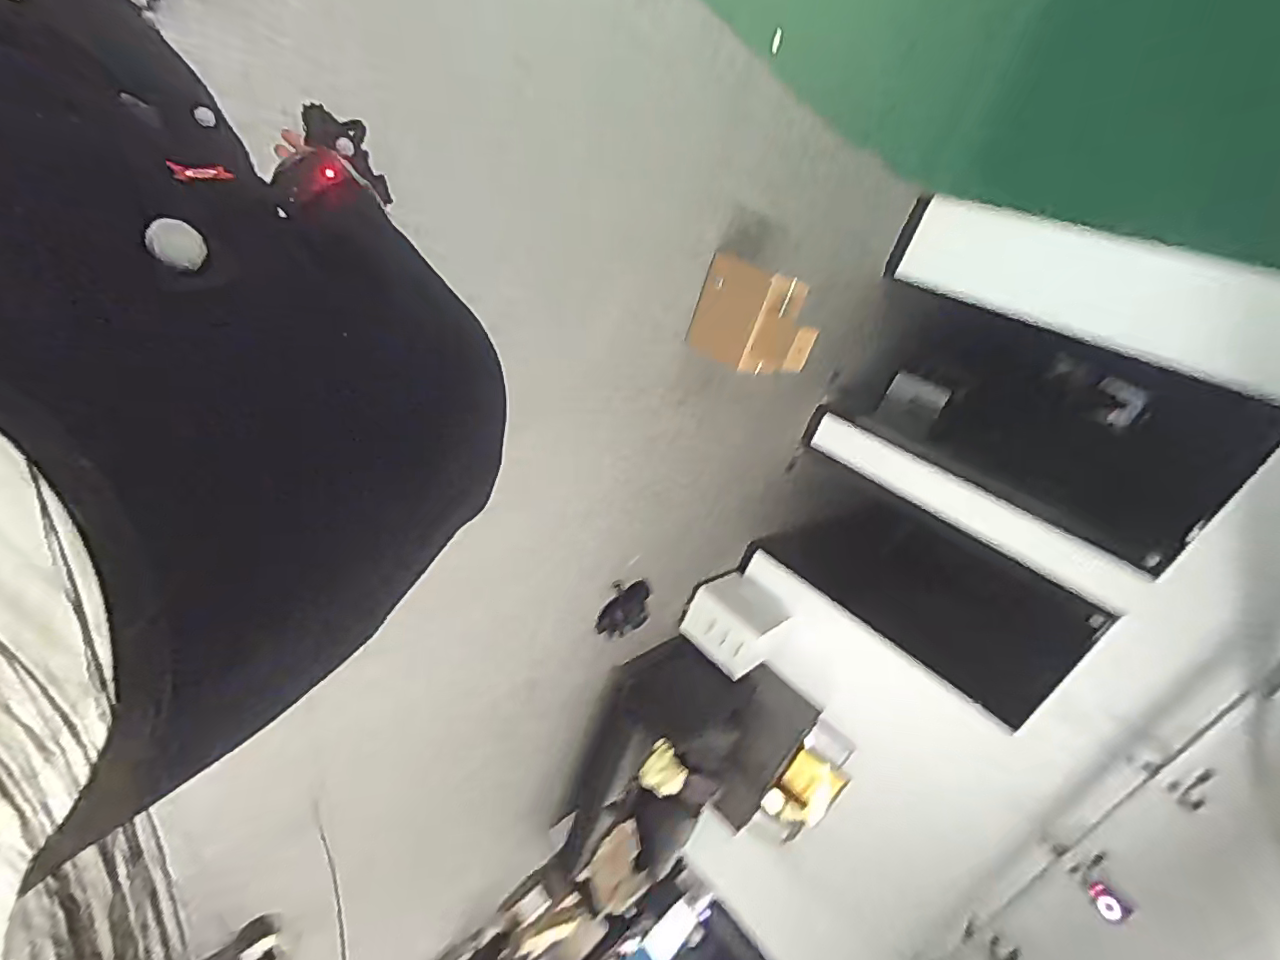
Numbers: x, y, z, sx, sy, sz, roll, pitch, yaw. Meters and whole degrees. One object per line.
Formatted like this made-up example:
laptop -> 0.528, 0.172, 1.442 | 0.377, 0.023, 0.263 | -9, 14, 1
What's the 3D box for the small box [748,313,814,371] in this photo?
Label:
small box -> 0.567, -0.560, 2.193 | 0.168, 0.176, 0.179 | -8, 128, -46
